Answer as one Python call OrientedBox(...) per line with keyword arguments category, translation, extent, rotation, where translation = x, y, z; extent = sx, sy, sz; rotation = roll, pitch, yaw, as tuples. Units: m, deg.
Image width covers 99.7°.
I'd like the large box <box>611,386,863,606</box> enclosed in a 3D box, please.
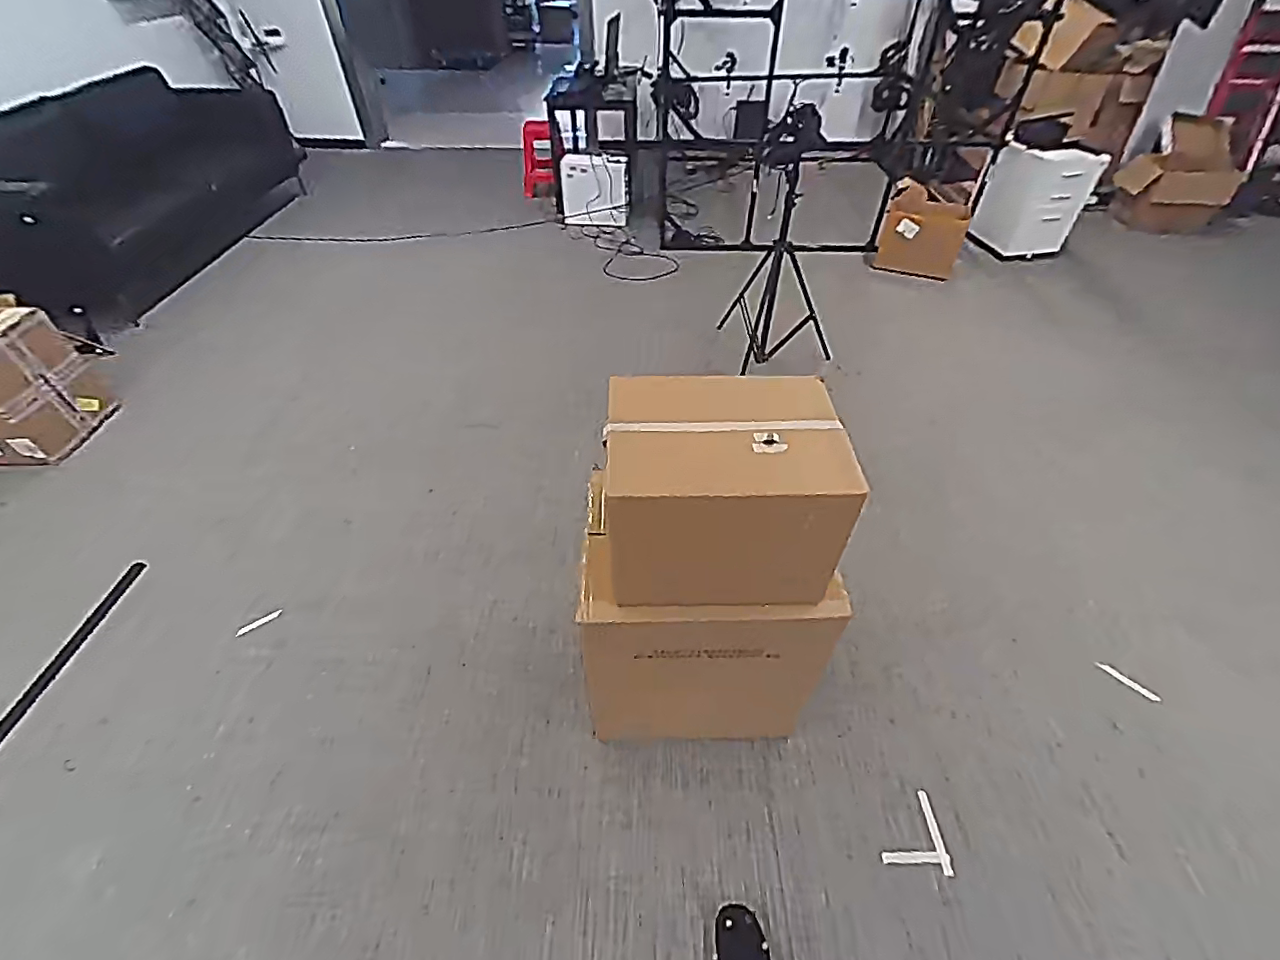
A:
OrientedBox(category="large box", translation=(0.148, 0.031, 1.050), extent=(0.408, 0.320, 0.320), rotation=(0, 46, -1))
